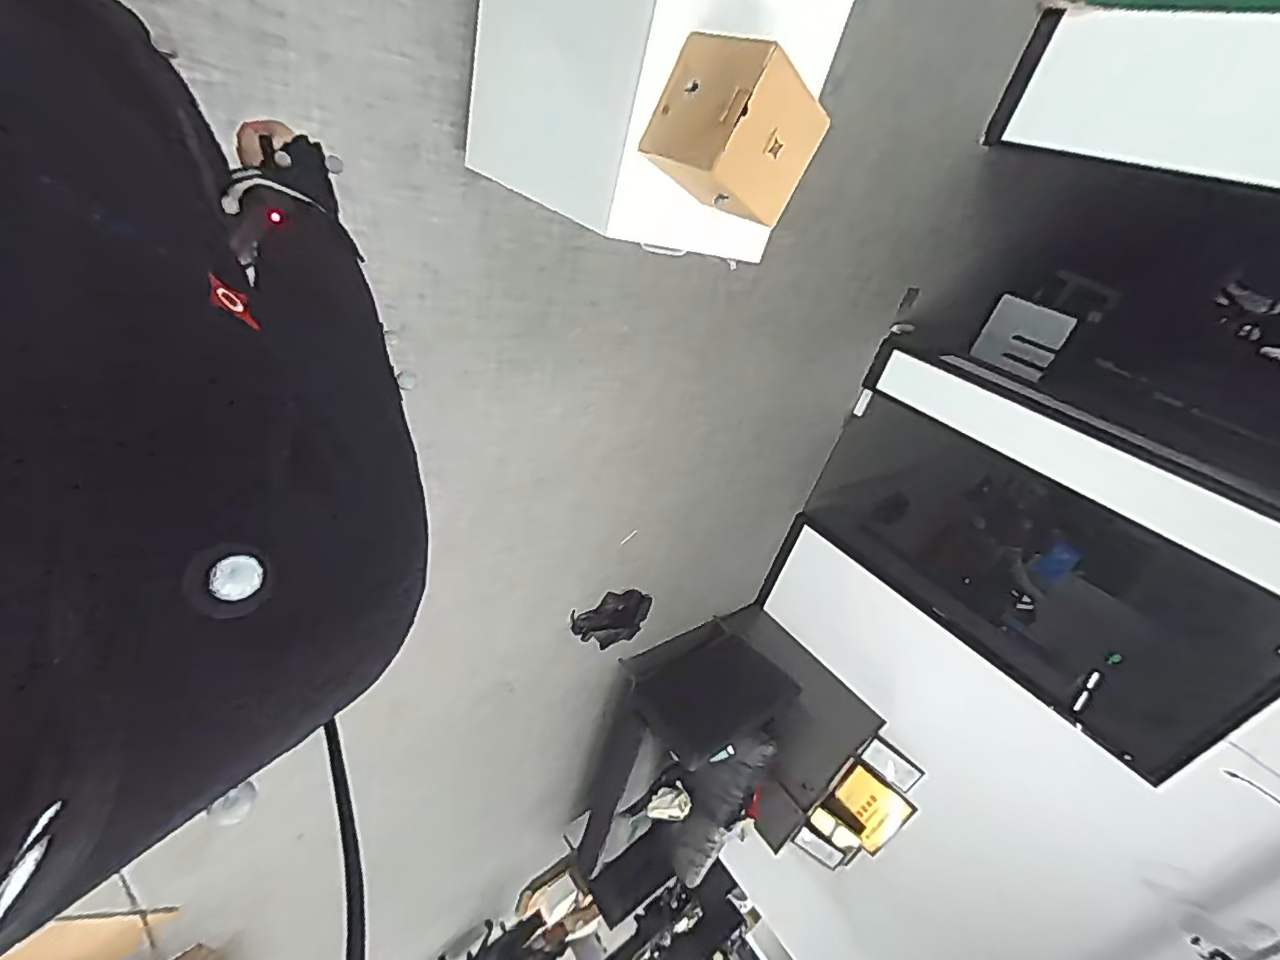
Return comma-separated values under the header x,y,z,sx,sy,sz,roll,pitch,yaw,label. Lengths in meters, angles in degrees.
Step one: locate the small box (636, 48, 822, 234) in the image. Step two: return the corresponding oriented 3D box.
x,y,z,sx,sy,sz,roll,pitch,yaw,label
0.129,-0.505,0.808,0.179,0.176,0.168,7,118,-49,small box
